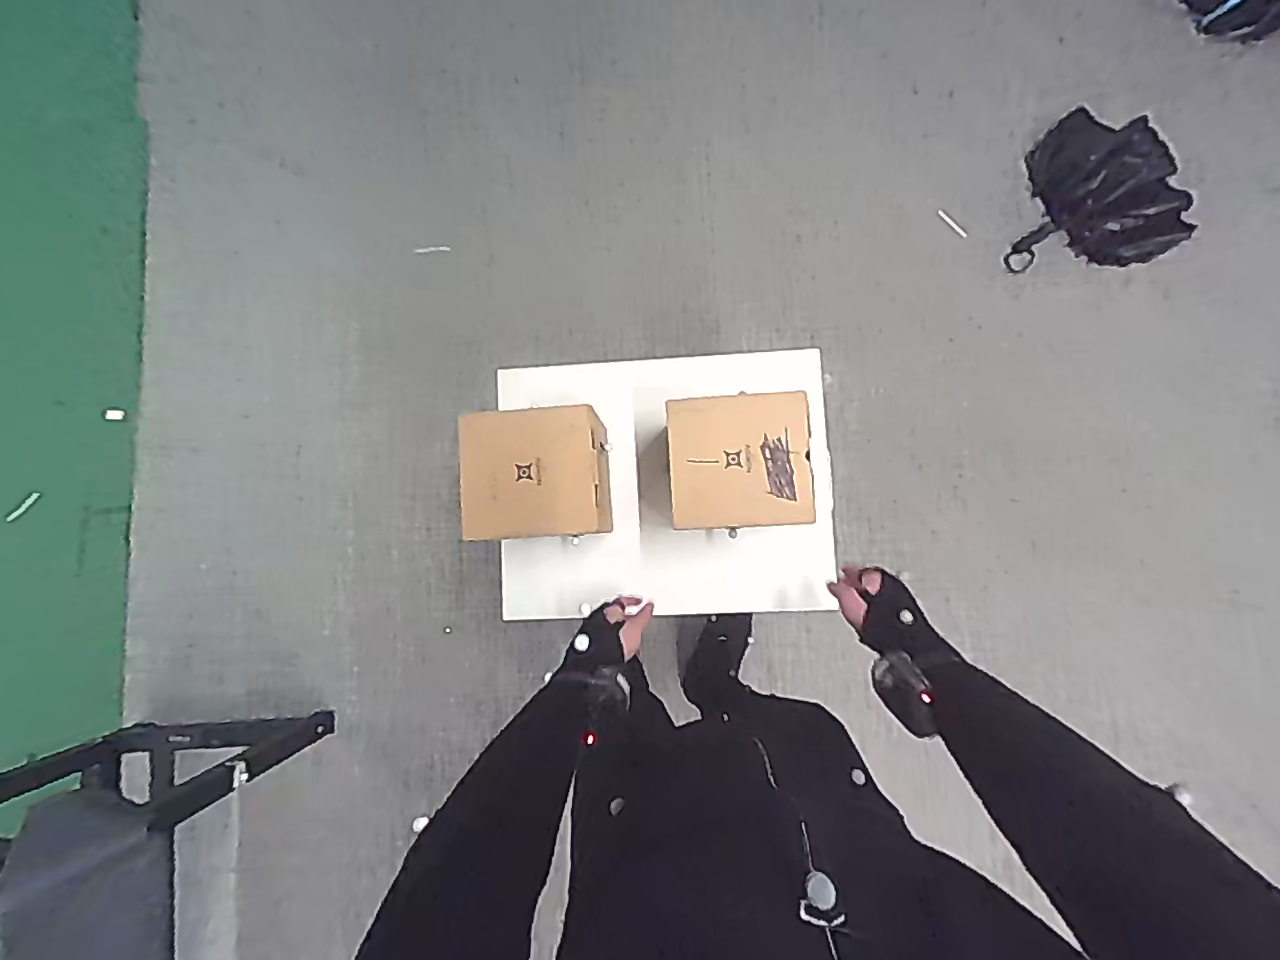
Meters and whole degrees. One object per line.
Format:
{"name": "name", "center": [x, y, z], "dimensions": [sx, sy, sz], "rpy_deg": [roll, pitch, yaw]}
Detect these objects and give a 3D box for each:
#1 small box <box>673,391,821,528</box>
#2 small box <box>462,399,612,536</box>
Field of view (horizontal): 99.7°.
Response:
{"name": "small box", "center": [0.134, -0.019, 0.735], "dimensions": [0.179, 0.176, 0.168], "rpy_deg": [-2, 84, 4]}
{"name": "small box", "center": [-0.131, -0.009, 0.750], "dimensions": [0.179, 0.176, 0.168], "rpy_deg": [-3, 83, 3]}
